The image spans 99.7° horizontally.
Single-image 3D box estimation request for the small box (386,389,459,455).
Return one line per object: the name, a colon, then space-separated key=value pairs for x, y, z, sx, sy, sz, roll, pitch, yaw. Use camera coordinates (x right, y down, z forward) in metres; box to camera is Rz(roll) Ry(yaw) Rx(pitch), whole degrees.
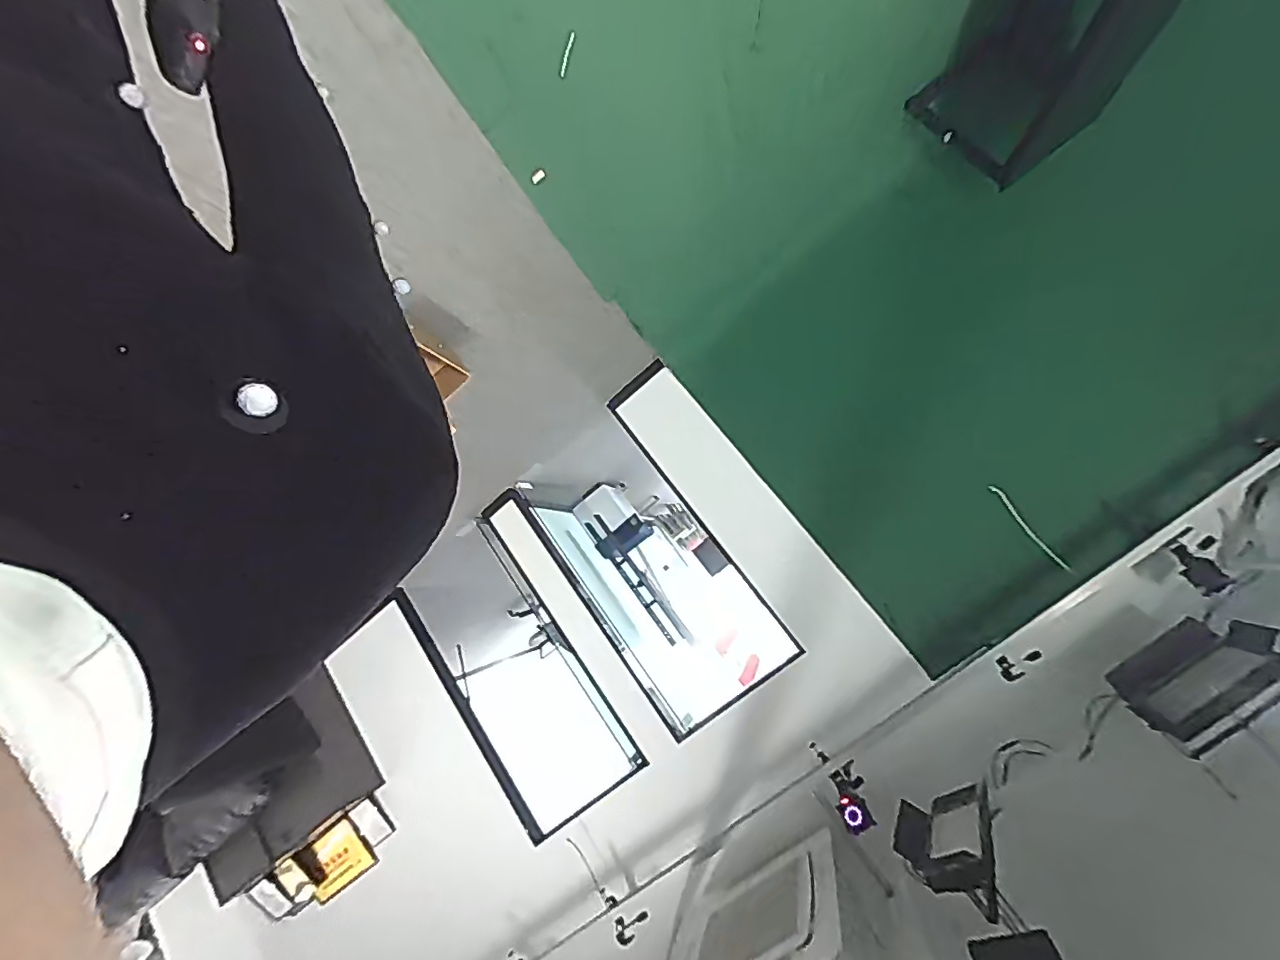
small box: x=-0.845 y=-0.227 z=2.102 sx=0.168 sy=0.176 sz=0.179 roll=-35 pitch=163 yaw=-1
